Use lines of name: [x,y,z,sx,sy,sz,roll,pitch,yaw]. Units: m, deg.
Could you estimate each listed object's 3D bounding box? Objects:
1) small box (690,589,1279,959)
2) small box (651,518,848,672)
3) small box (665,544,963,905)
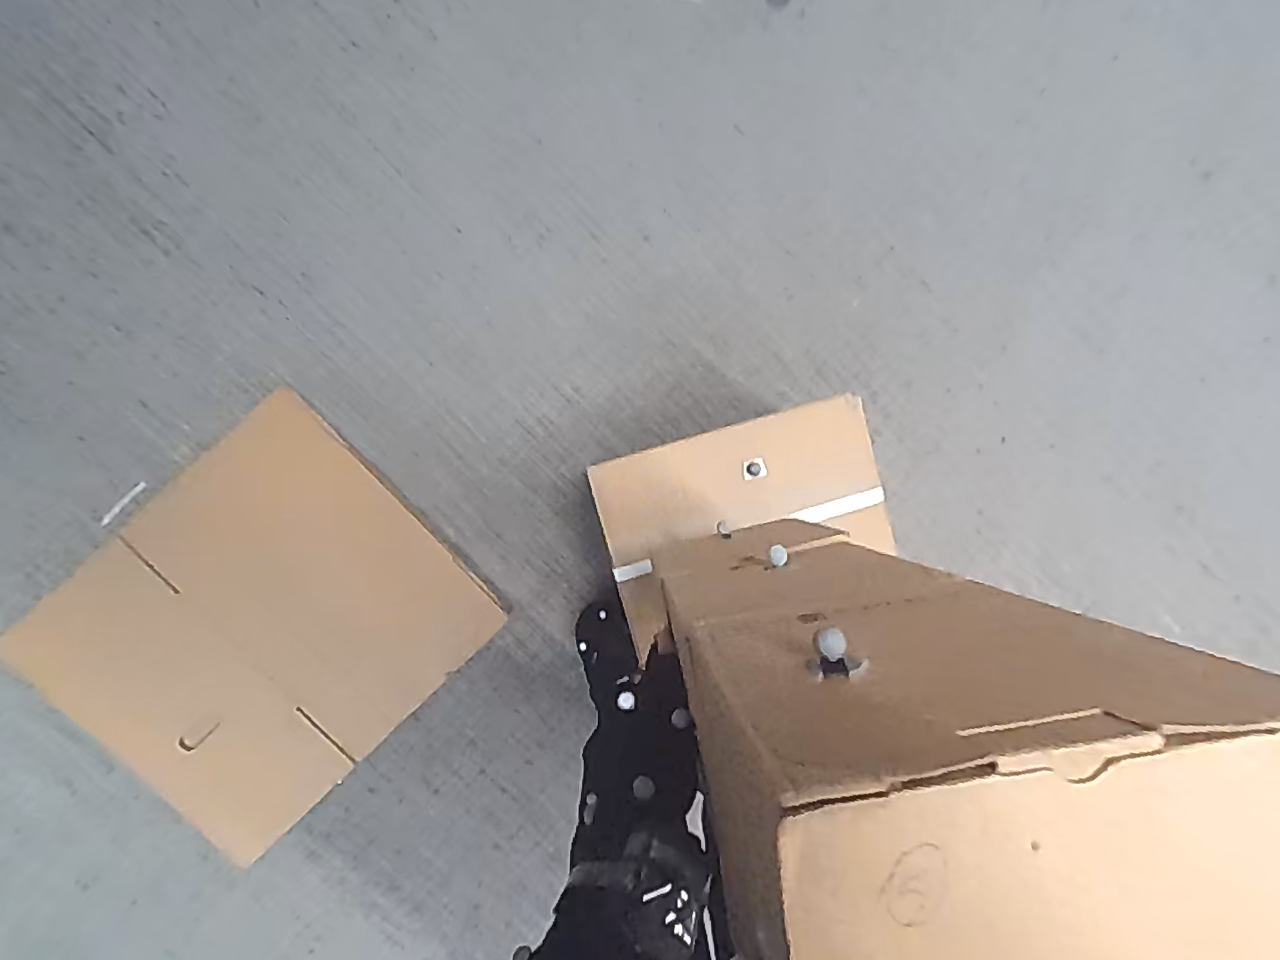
small box: [0.120,0.151,0.223,0.168,0.176,0.179,-10,92,-1]
small box: [0.114,0.141,0.551,0.179,0.176,0.168,-17,89,-2]
small box: [0.116,0.154,0.385,0.168,0.176,0.179,-12,90,-1]
